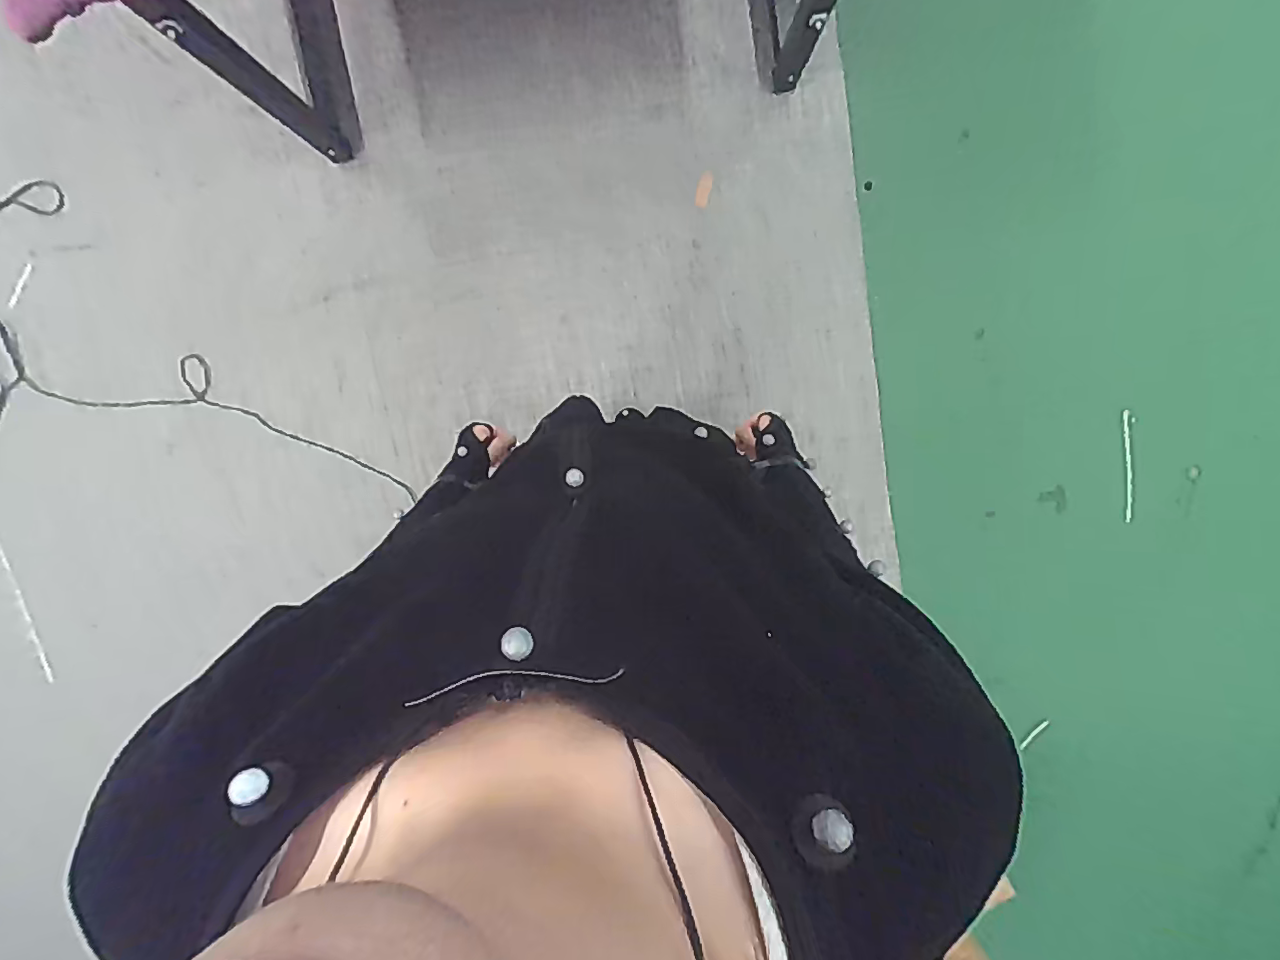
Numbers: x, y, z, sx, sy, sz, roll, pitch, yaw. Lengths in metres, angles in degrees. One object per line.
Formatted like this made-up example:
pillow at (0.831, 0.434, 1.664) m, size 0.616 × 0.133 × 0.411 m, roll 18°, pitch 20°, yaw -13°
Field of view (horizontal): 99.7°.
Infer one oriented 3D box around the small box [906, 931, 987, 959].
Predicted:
small box at (0.677, 1.084, 1.096) m, size 0.168 × 0.176 × 0.179 m, roll -38°, pitch 97°, yaw 5°
